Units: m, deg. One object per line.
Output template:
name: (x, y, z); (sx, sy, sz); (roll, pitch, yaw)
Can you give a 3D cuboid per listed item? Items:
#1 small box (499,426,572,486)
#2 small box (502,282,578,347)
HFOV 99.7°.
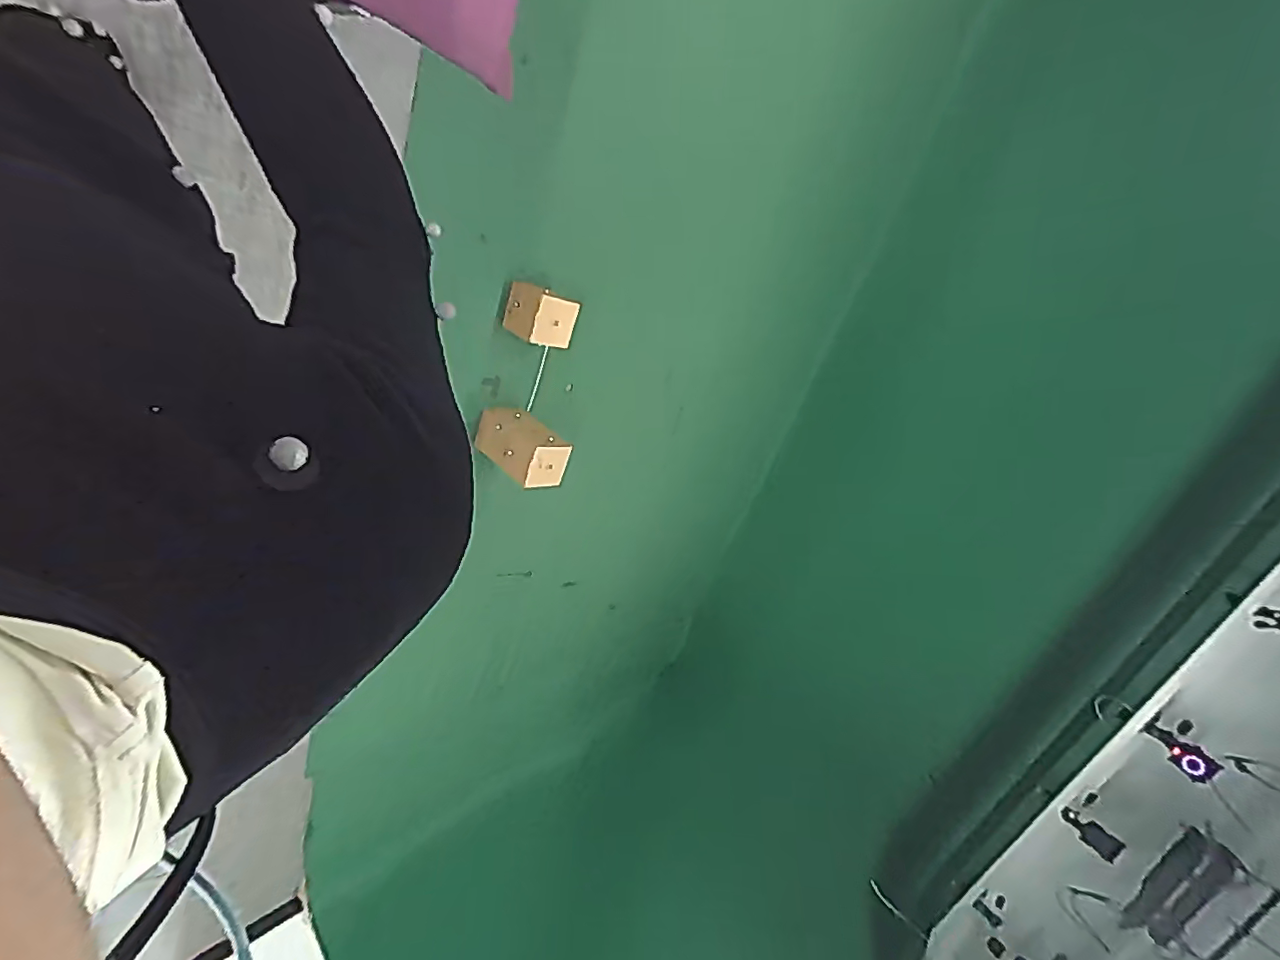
small box: (-0.391, -0.094, 2.005); (0.179, 0.176, 0.168); (-5, 123, -51)
small box: (-0.357, -0.586, 1.913); (0.179, 0.176, 0.168); (-7, 124, -50)
